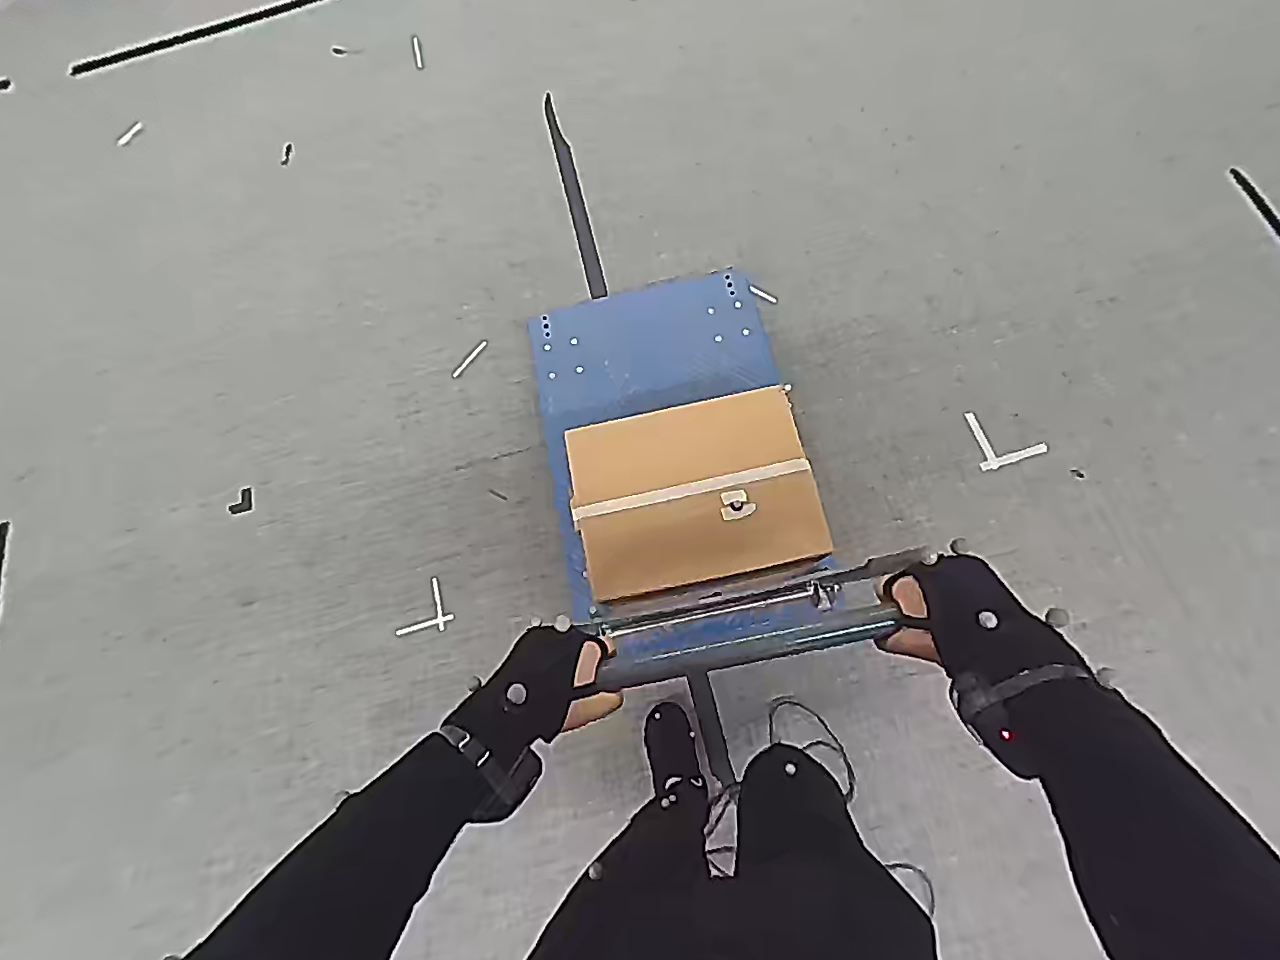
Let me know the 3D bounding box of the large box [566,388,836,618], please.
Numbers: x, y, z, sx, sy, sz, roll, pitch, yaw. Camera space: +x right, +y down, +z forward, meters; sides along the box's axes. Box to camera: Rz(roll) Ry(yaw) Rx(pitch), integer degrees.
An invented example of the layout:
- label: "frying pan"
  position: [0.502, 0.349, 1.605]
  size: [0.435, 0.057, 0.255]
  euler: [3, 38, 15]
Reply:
- label: "large box"
  position: [0.102, 0.067, 1.052]
  size: [0.408, 0.320, 0.320]
  euler: [-12, 73, 1]
